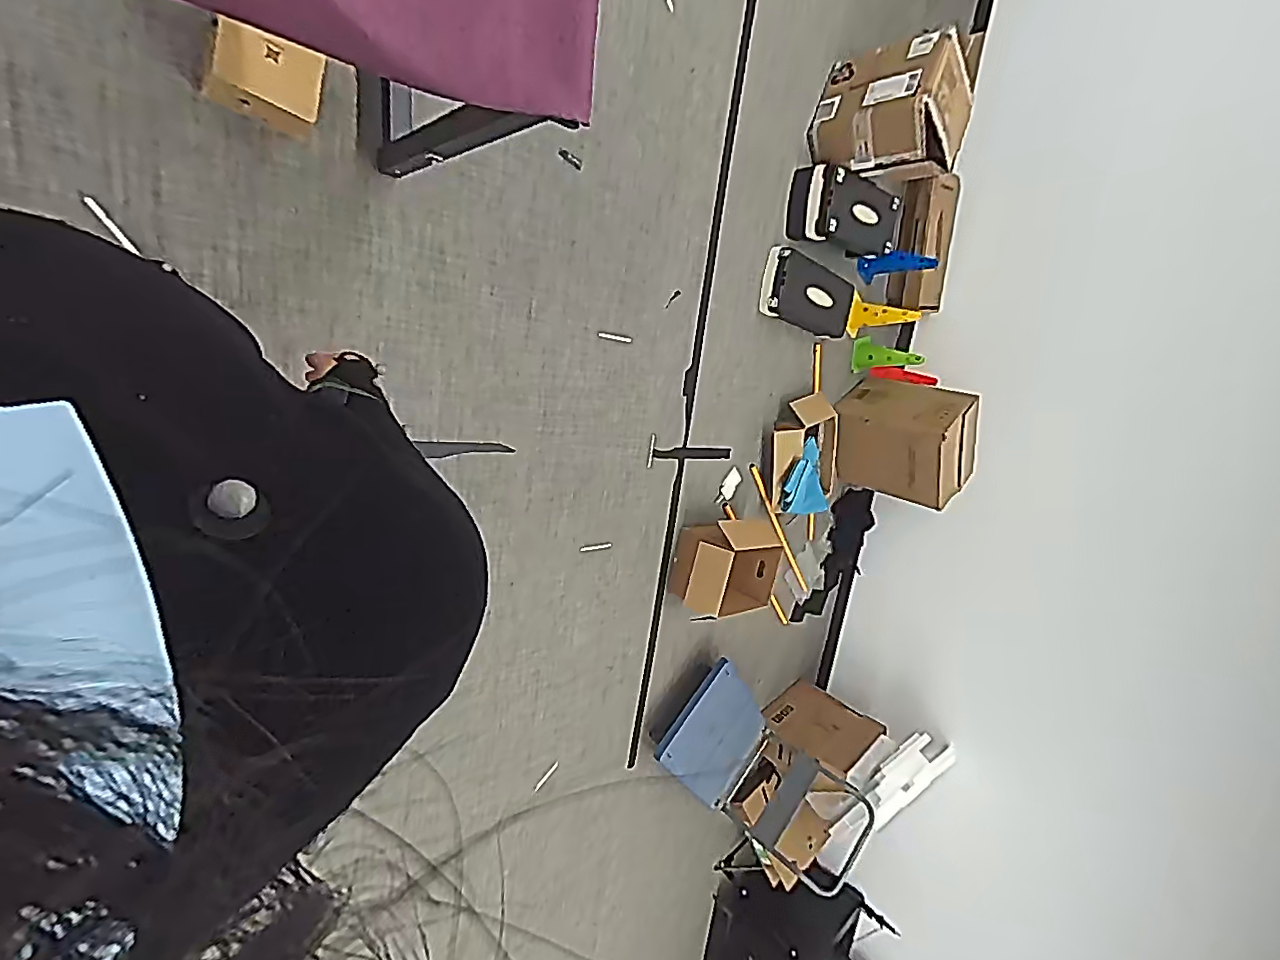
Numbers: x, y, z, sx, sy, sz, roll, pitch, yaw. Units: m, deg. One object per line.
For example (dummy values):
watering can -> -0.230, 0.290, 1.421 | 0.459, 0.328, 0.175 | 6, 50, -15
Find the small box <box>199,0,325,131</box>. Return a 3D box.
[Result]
small box -> -0.741, -0.821, 1.054 | 0.168, 0.176, 0.179 | 7, 99, -46
